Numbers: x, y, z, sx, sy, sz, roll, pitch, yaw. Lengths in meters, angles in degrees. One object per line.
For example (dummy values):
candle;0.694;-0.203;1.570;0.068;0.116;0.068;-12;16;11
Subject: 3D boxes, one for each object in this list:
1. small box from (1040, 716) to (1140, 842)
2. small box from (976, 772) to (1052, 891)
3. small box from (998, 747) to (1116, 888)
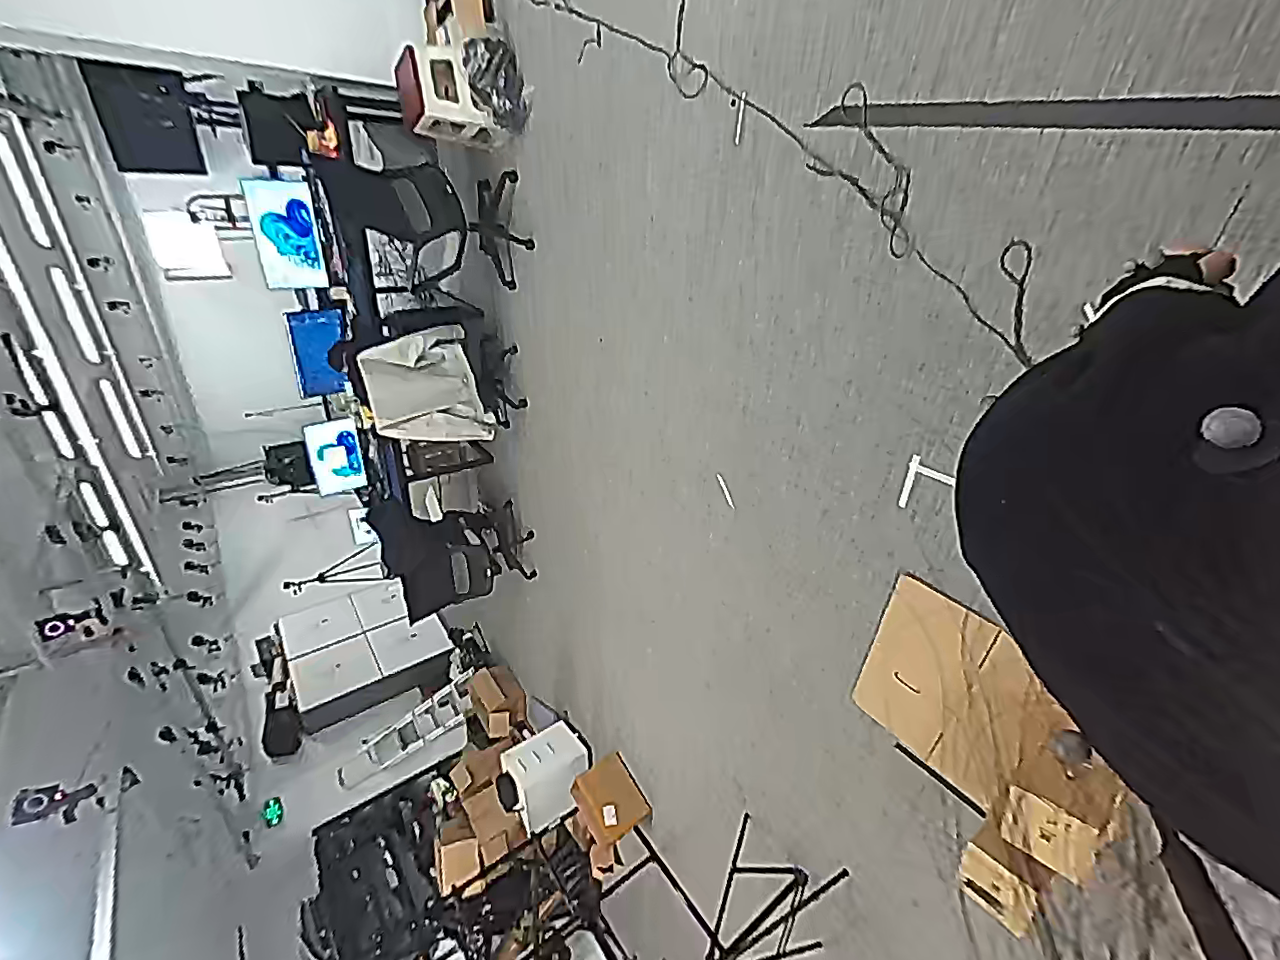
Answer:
small box;1.093;0.722;1.330;0.168;0.176;0.179;19;119;50
small box;1.063;0.956;1.483;0.168;0.176;0.179;25;124;47
small box;0.959;0.767;1.245;0.168;0.176;0.179;19;119;48
